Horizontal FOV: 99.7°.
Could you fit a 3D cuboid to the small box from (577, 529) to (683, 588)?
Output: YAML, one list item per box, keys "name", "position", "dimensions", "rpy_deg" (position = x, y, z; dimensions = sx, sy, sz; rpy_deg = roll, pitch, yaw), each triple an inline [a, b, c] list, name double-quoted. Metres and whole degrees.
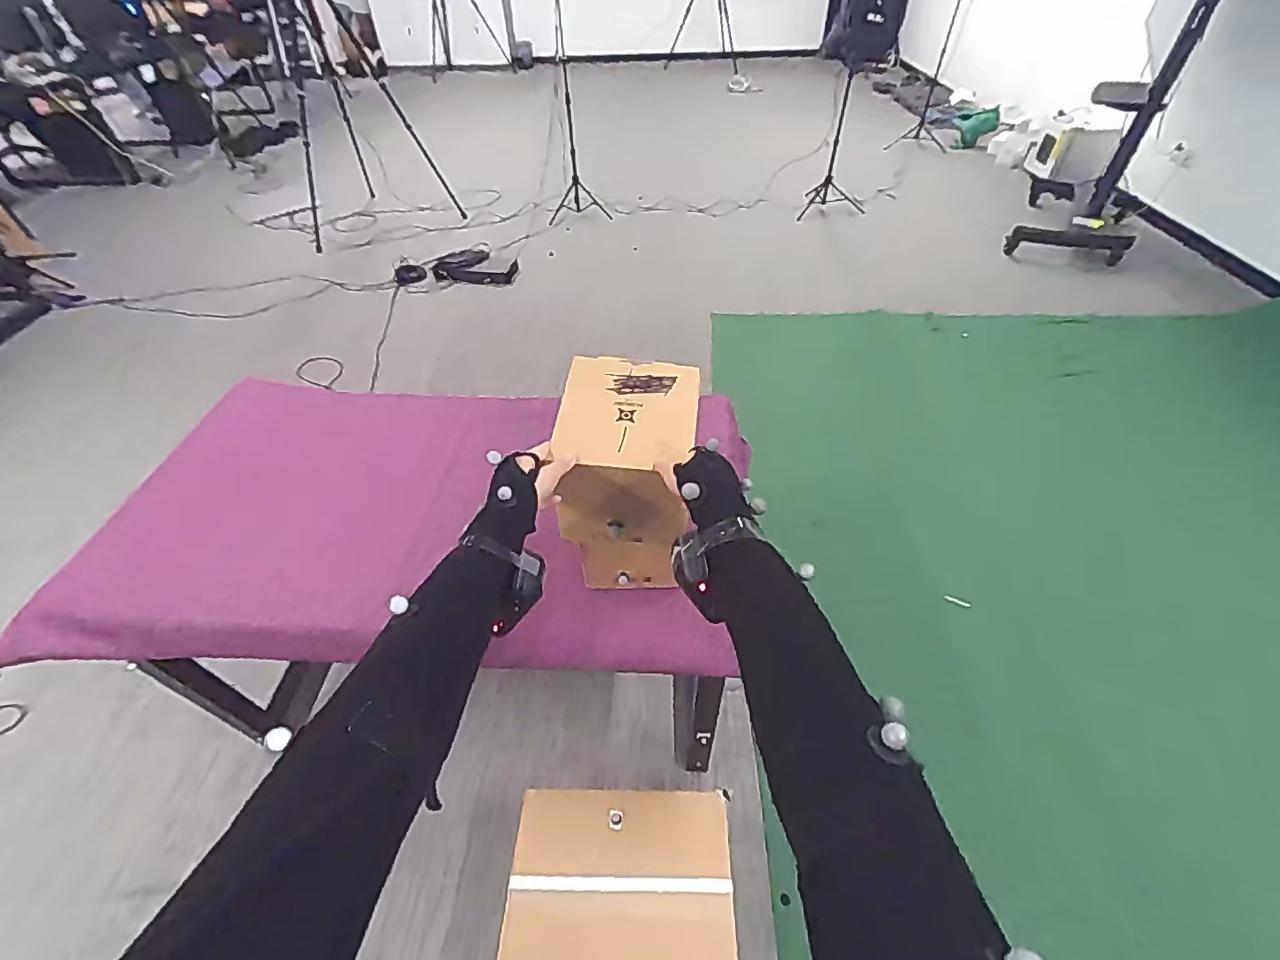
- name: "small box"
  position: [-0.016, 0.061, 0.906]
  dimensions: [0.168, 0.176, 0.179]
  rpy_deg: [-2, 45, 2]

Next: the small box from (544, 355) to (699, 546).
- name: "small box"
  position: [-0.017, -0.036, 0.705]
  dimensions: [0.168, 0.176, 0.179]
  rpy_deg: [5, 54, 4]
